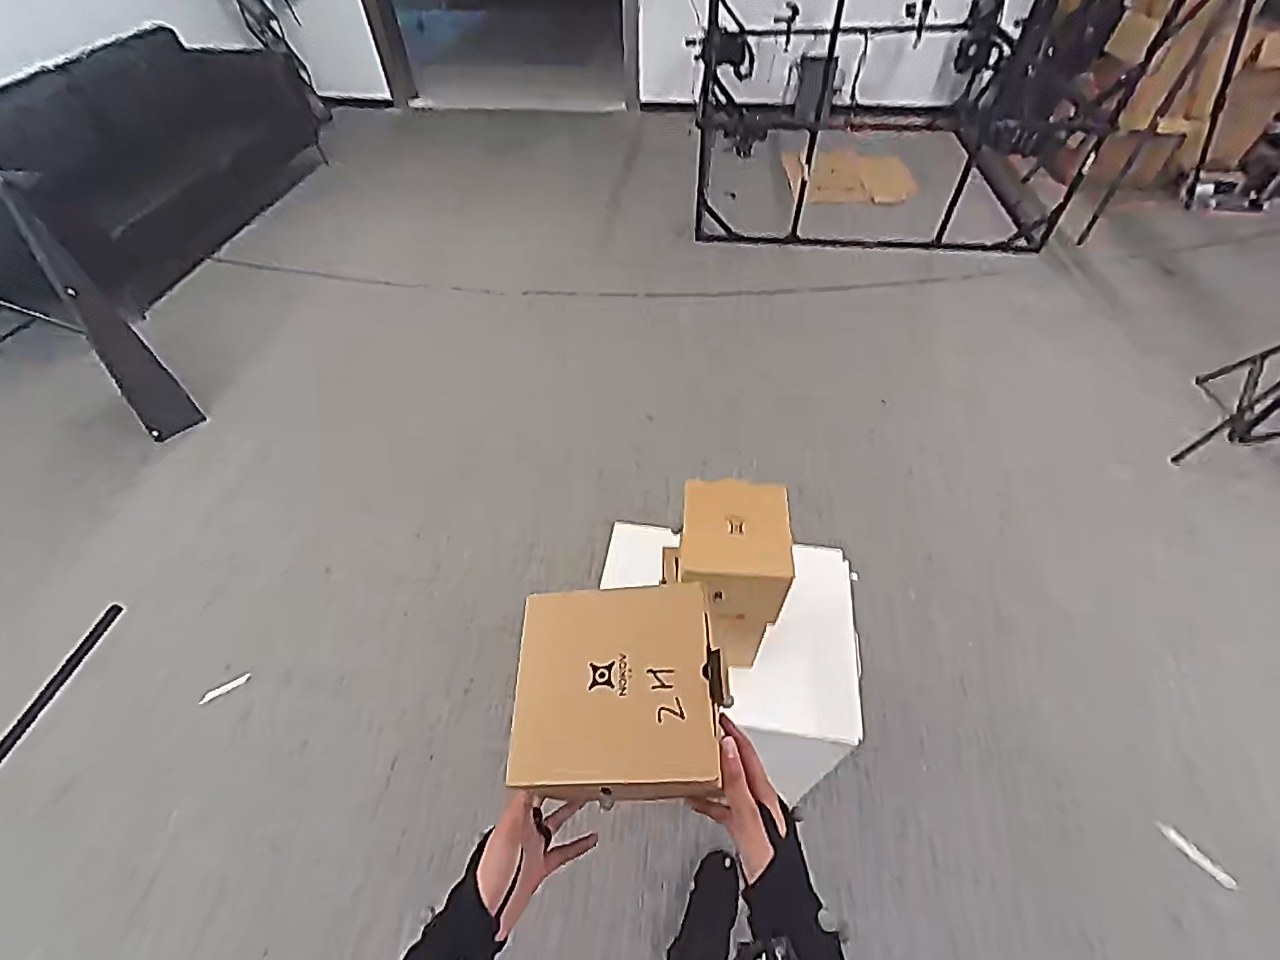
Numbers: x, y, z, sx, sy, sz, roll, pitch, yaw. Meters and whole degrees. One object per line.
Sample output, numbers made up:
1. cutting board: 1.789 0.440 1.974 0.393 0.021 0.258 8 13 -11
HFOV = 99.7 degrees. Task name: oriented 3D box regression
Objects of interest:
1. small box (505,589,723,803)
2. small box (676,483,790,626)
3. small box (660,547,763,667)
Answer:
1. small box: -0.012 0.221 0.539 0.179 0.176 0.168 -4 55 7
2. small box: 0.147 0.127 0.900 0.168 0.176 0.179 3 49 4
3. small box: 0.124 0.241 1.016 0.179 0.176 0.168 2 50 1
